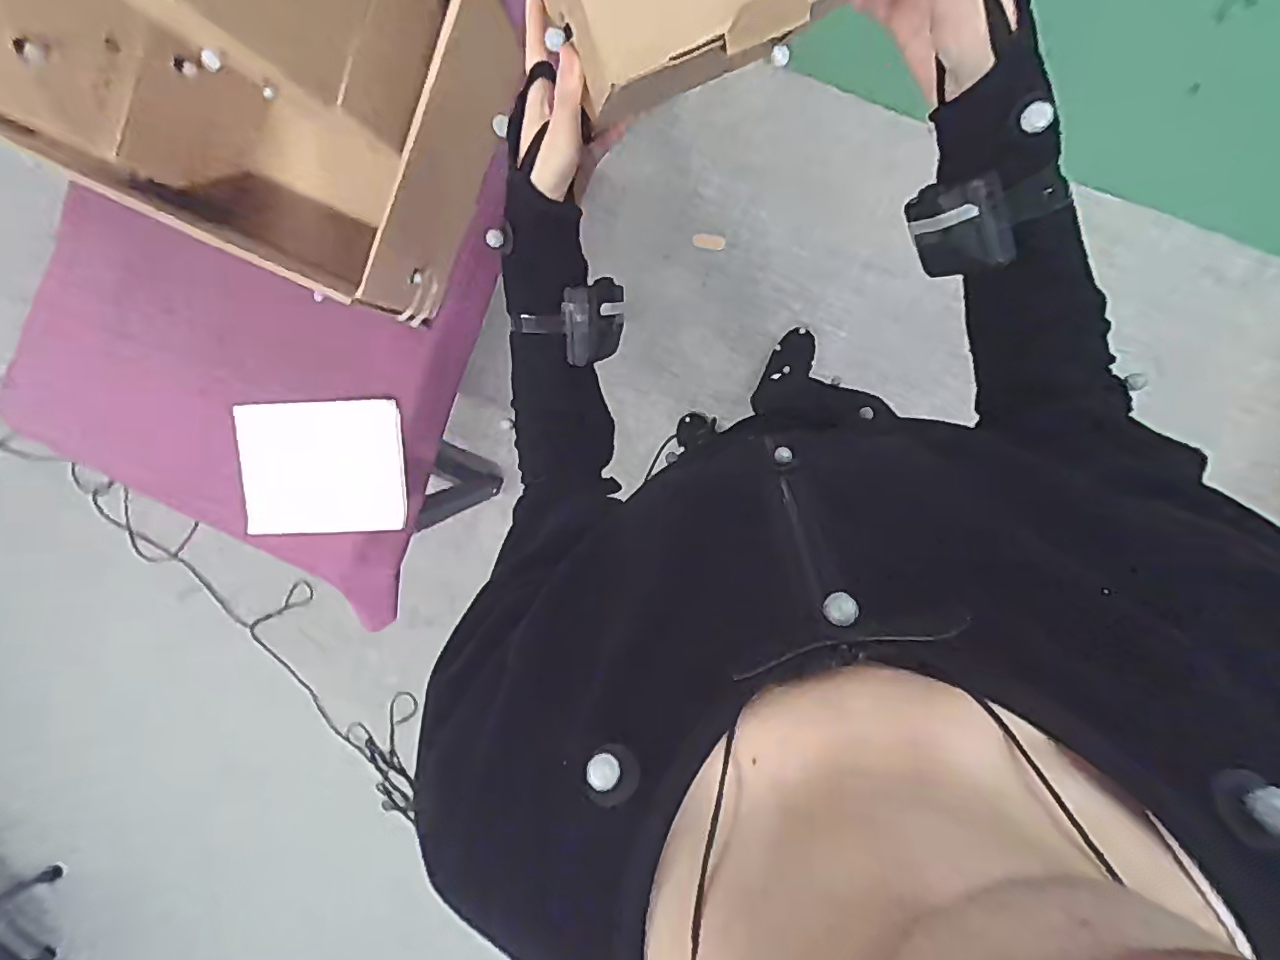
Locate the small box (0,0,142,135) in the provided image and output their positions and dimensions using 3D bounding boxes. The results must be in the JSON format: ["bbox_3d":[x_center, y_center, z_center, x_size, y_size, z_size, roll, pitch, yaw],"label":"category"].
[{"bbox_3d":[-0.619,-0.454,0.490,0.179,0.176,0.168,26,100,0],"label":"small box"}]

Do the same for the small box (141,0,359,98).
[{"bbox_3d":[-0.359,-0.477,0.451,0.168,0.176,0.179,27,103,3],"label":"small box"}]

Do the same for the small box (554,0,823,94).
[{"bbox_3d":[0.023,-0.338,0.288,0.168,0.176,0.179,-22,117,2],"label":"small box"}]
